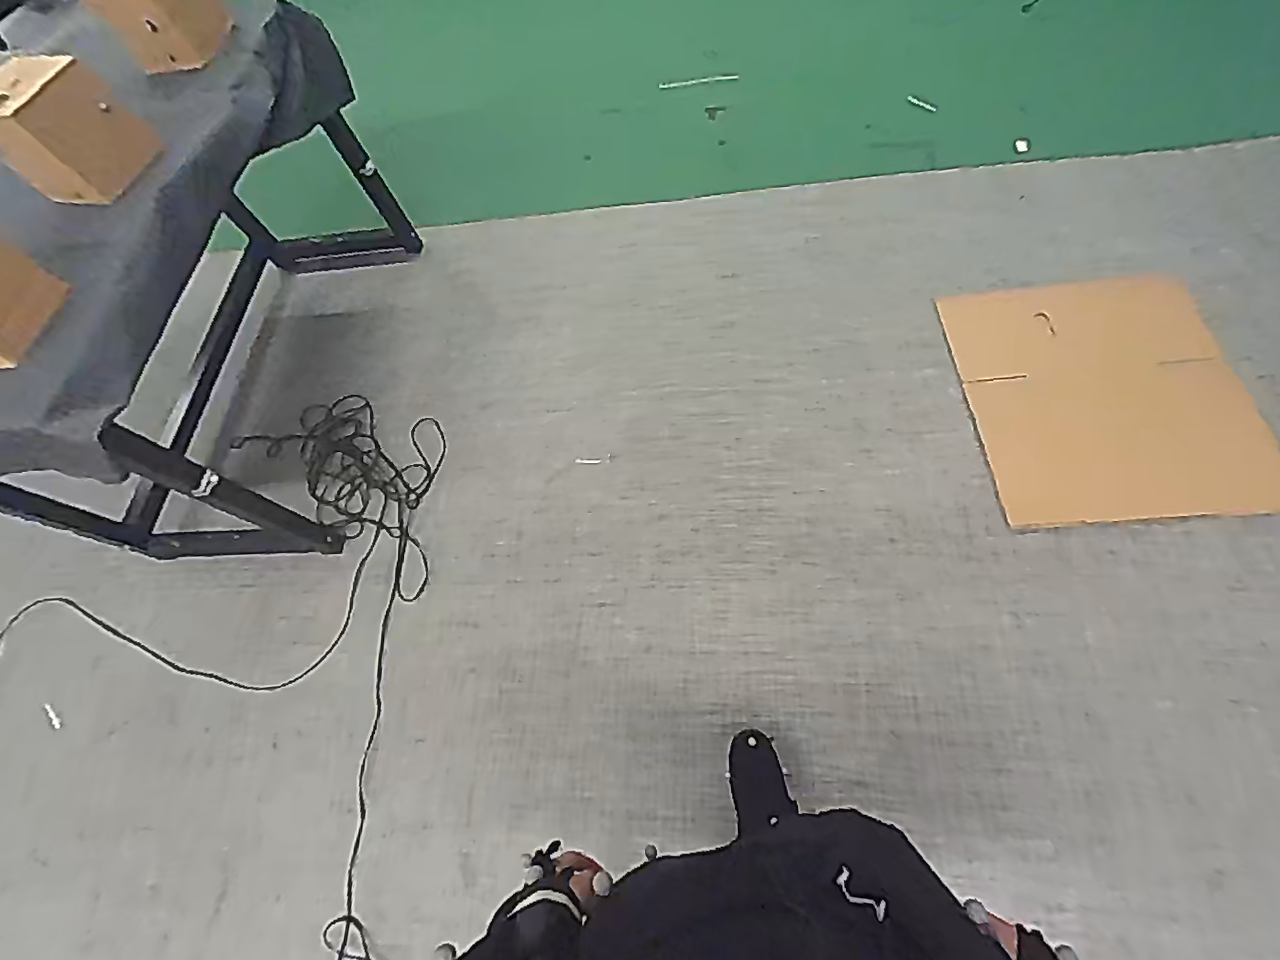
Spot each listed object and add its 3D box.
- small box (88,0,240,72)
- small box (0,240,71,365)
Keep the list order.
[{"bbox_3d":[-1.044,-1.039,1.197,0.168,0.176,0.179,3,66,10],"label":"small box"},{"bbox_3d":[-1.087,-0.296,0.859,0.168,0.176,0.179,-1,65,10],"label":"small box"}]
